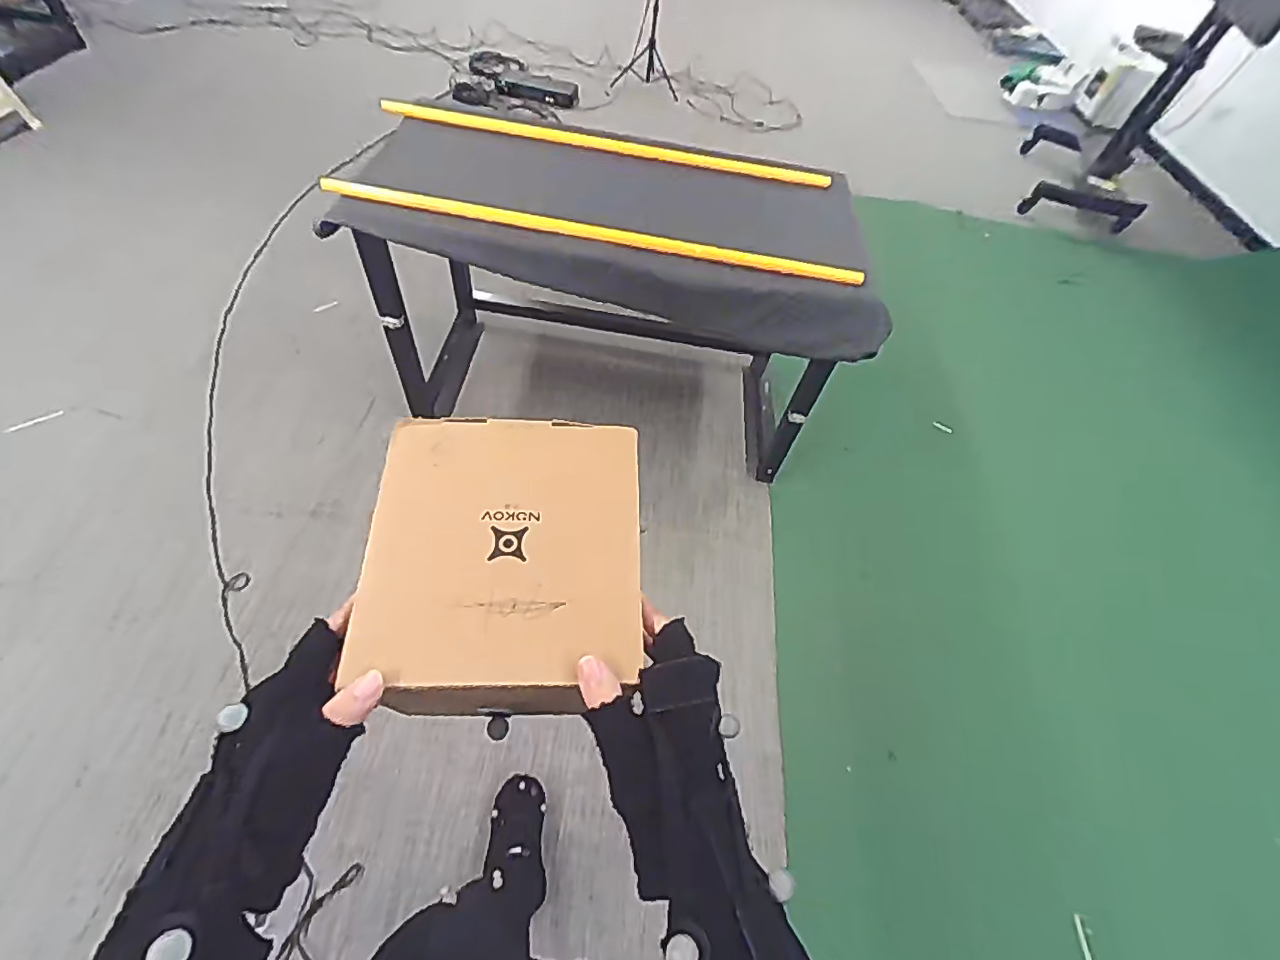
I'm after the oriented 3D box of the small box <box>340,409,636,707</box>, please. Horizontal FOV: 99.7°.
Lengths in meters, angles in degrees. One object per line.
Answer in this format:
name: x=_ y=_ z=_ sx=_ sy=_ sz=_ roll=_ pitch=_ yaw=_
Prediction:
small box: x=-0.094 y=0.069 z=0.411 sx=0.168 sy=0.176 sz=0.179 roll=2 pitch=62 yaw=-6
